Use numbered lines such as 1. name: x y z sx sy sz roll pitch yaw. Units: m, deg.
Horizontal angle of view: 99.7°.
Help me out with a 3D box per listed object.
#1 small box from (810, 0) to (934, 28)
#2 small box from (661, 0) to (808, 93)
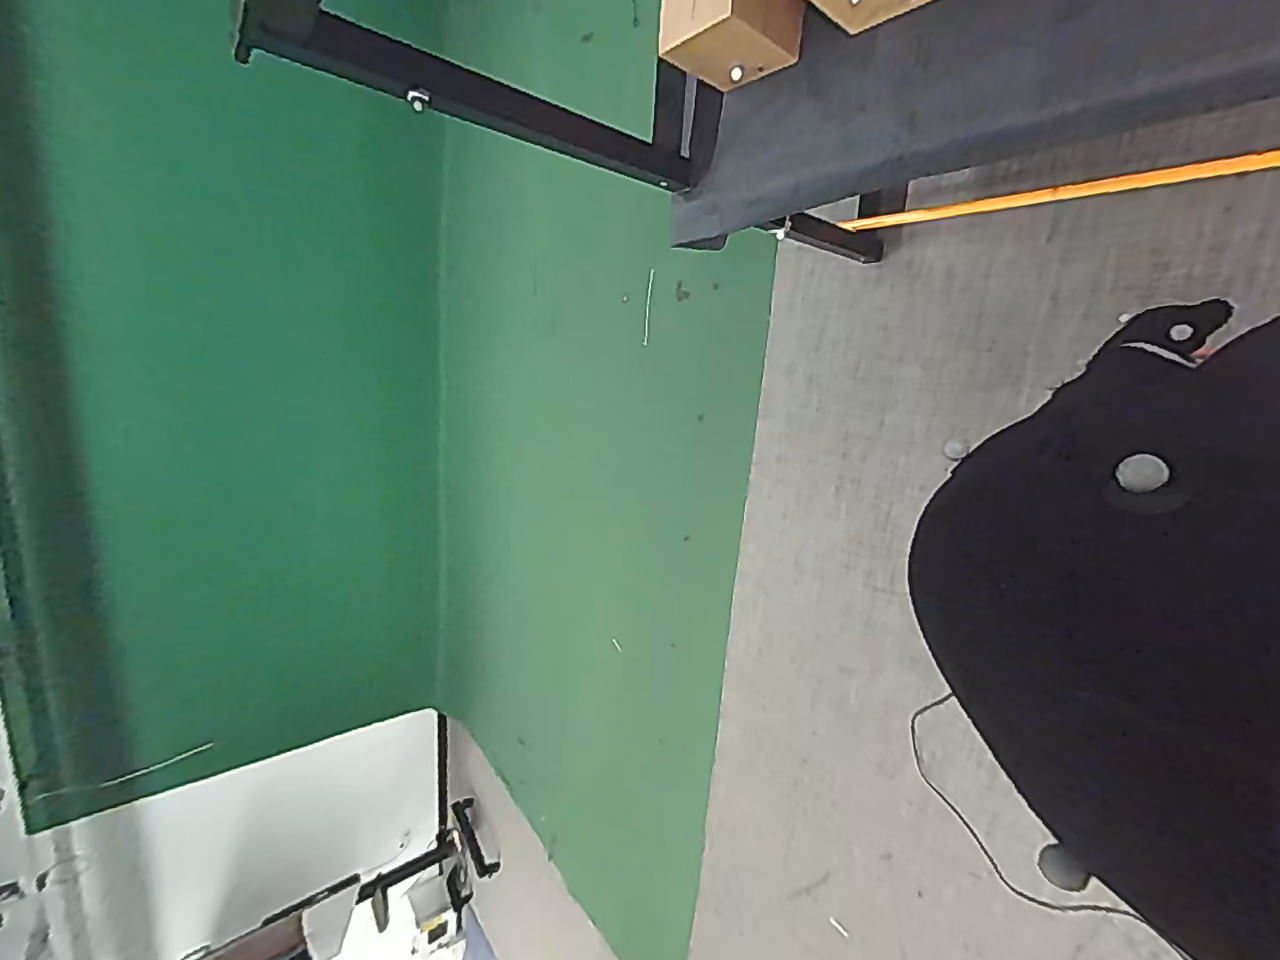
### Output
1. small box: 0.317 -0.724 0.686 0.168 0.176 0.179 19 108 49
2. small box: 0.157 -0.775 0.875 0.168 0.176 0.179 19 109 49
